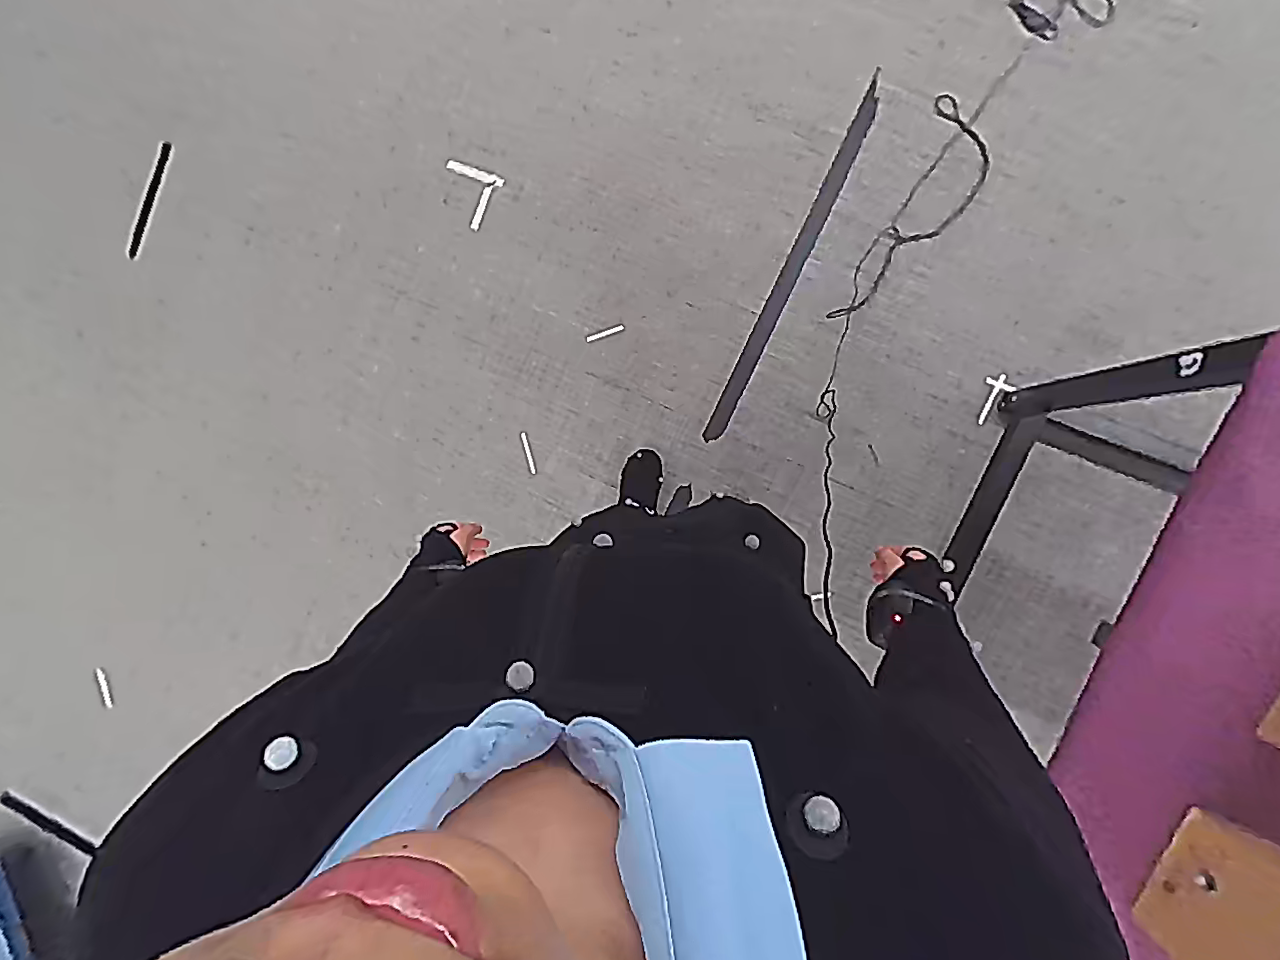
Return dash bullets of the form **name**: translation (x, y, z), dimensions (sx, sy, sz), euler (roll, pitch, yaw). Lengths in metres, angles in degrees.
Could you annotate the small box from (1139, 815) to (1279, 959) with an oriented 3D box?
- **small box**: translation (0.747, 0.528, 0.612), dimensions (0.179, 0.176, 0.168), euler (25, 95, 4)
